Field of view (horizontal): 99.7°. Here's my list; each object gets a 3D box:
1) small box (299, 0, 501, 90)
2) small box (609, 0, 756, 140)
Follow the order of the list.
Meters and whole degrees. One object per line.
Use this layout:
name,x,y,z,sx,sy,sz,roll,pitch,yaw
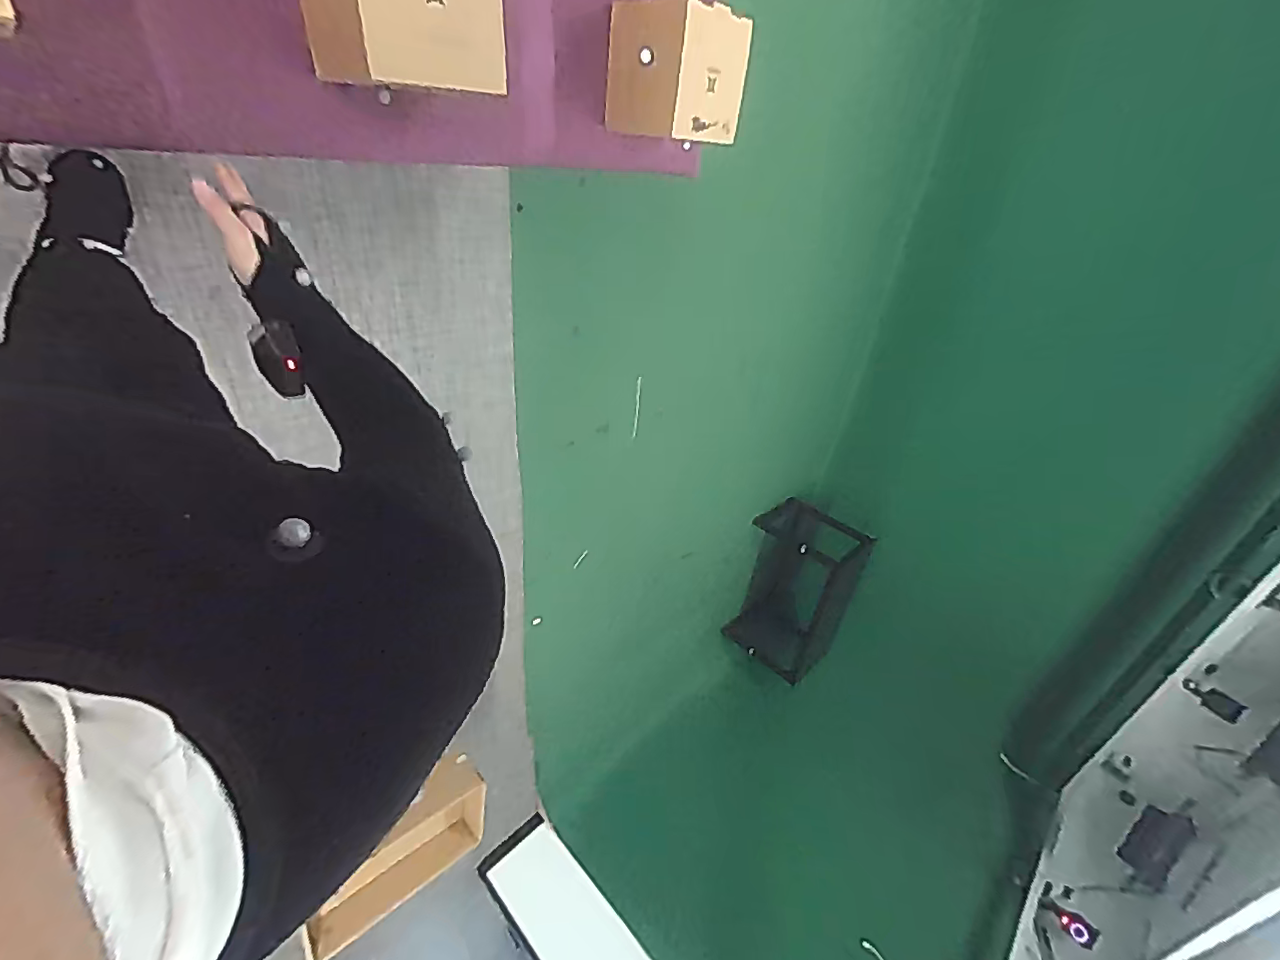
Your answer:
small box,-0.276,-0.555,0.608,0.168,0.176,0.179,-24,132,-37
small box,0.064,-0.684,0.904,0.168,0.176,0.179,-22,133,-37
